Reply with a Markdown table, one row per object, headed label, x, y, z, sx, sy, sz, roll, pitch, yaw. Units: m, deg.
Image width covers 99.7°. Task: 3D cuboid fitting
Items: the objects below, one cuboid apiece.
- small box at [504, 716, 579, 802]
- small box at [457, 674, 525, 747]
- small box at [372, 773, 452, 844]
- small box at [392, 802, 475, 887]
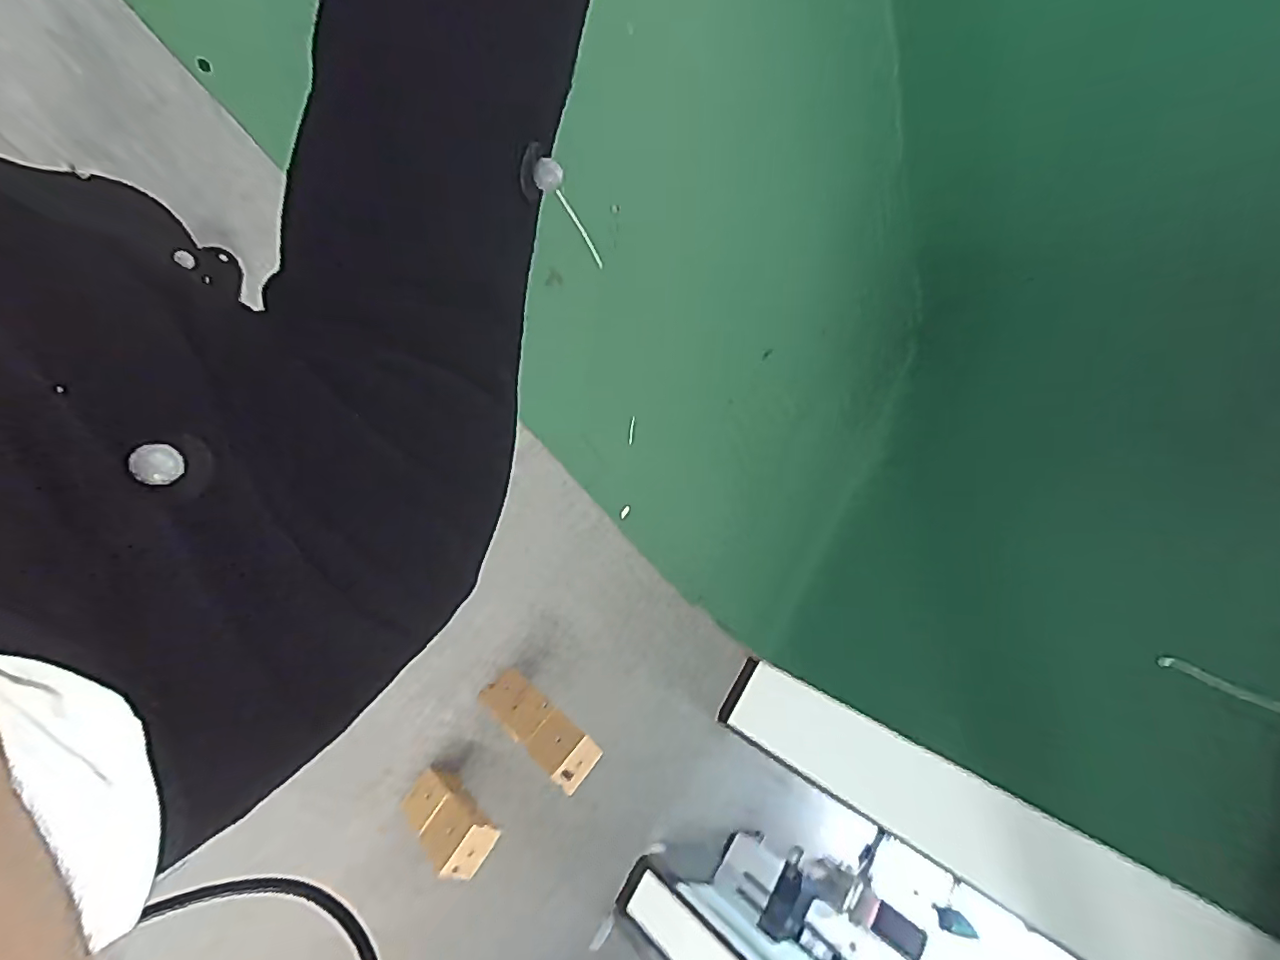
| label | x | y | z | sx | sy | sz | roll | pitch | yaw |
| --- | --- | --- | --- | --- | --- | --- | --- | --- | --- |
| small box | -0.351 | 0.974 | 1.897 | 0.179 | 0.176 | 0.168 | -44 | 134 | -29 |
| small box | -0.584 | 0.889 | 2.111 | 0.168 | 0.176 | 0.179 | -38 | 131 | -32 |
| small box | -0.831 | 1.201 | 1.967 | 0.168 | 0.176 | 0.179 | -54 | 138 | -18 |
| small box | -0.715 | 1.251 | 1.862 | 0.179 | 0.176 | 0.168 | -53 | 137 | -20 |
